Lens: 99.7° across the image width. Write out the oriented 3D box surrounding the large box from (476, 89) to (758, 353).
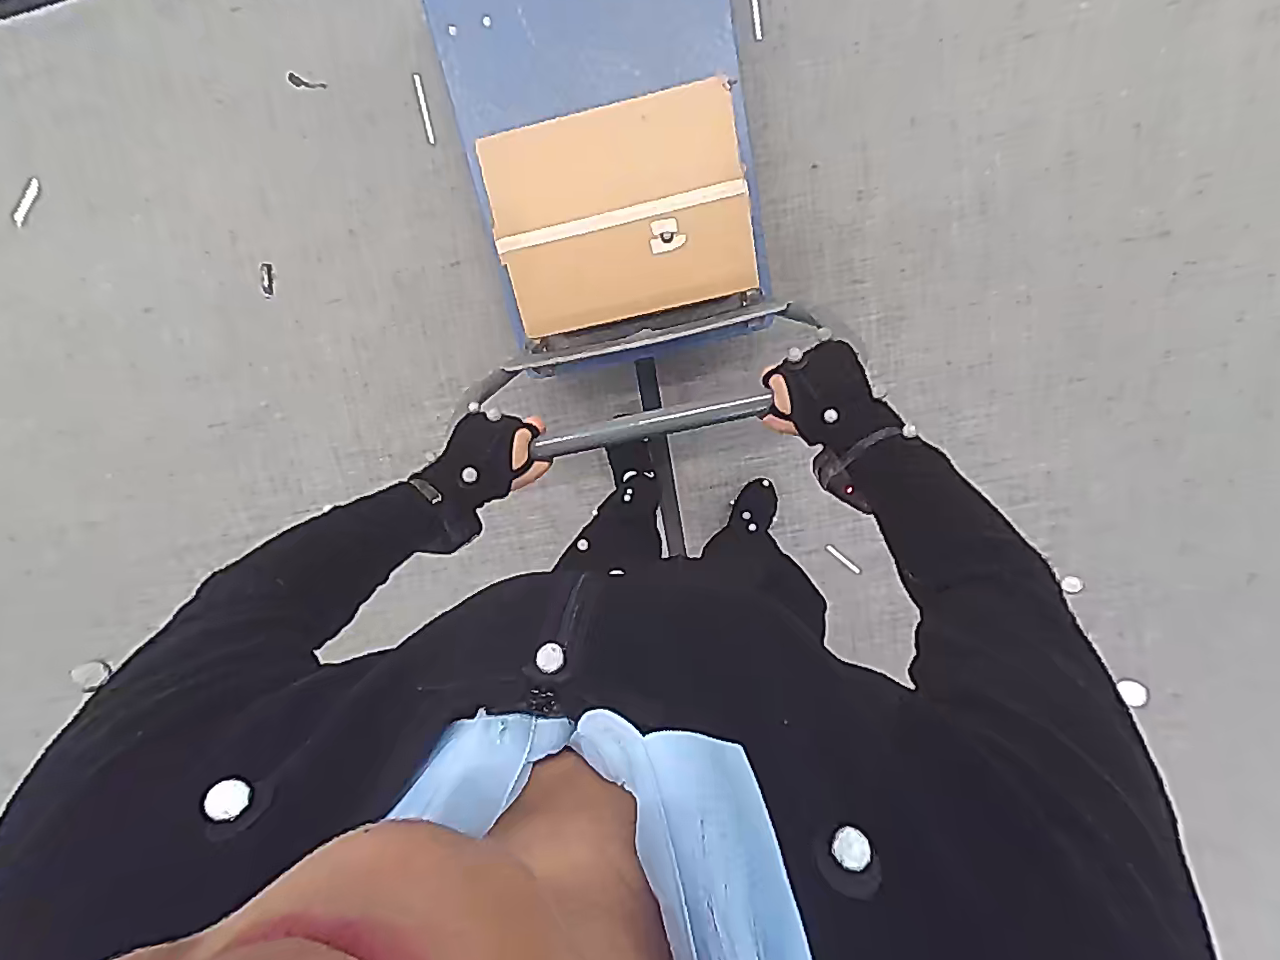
[{"bbox_3d":[-0.030,-0.442,1.004,0.408,0.320,0.320,-12,107,4],"label":"large box"}]
